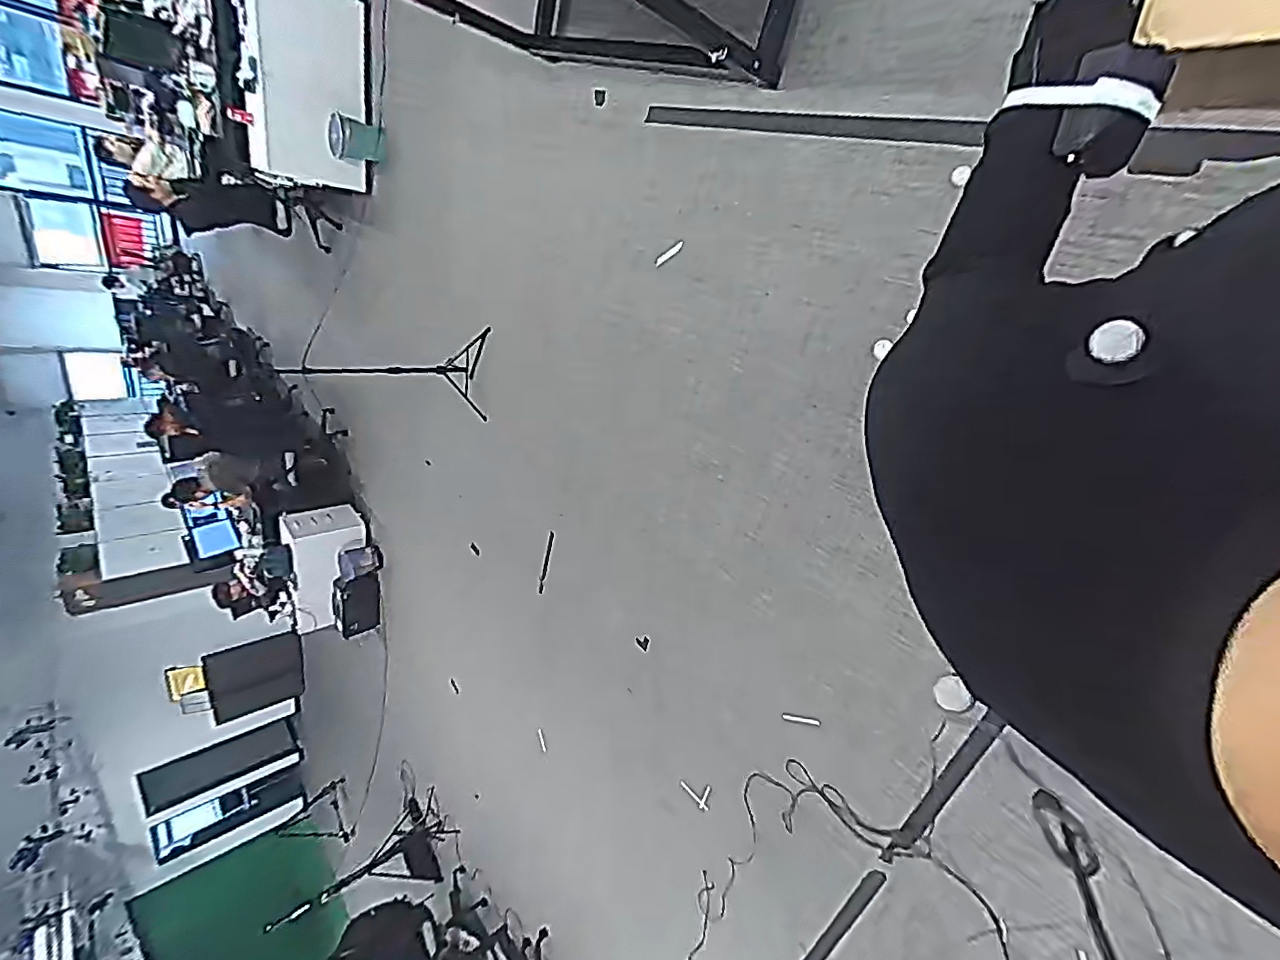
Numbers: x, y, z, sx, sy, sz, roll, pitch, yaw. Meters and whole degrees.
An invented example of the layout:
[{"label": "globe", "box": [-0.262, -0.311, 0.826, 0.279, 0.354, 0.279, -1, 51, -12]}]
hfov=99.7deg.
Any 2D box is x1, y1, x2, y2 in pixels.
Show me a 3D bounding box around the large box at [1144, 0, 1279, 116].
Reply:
[{"label": "large box", "box": [0.579, -0.401, 0.273, 0.408, 0.320, 0.320, 24, 126, 36]}]
